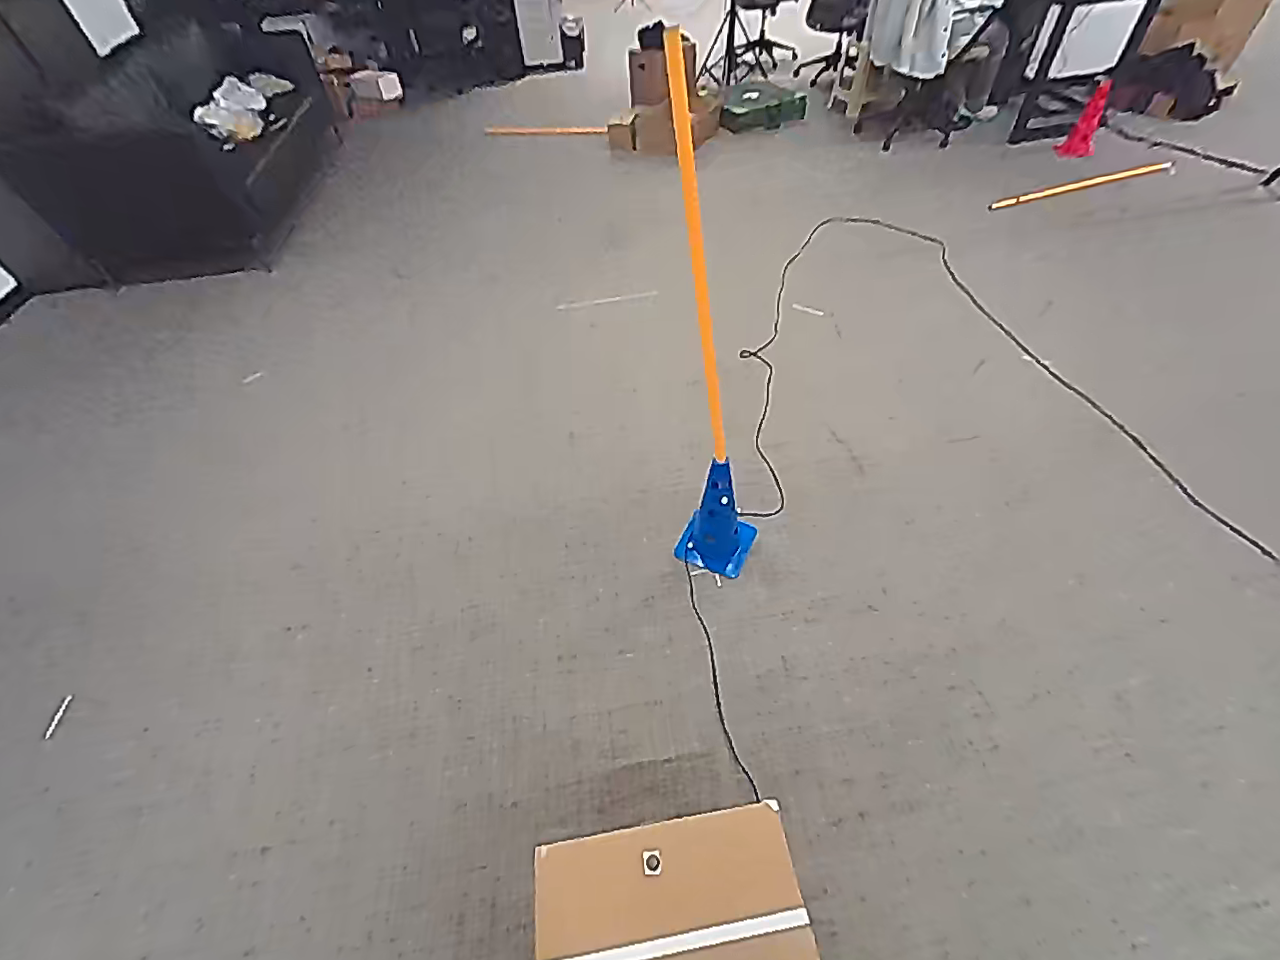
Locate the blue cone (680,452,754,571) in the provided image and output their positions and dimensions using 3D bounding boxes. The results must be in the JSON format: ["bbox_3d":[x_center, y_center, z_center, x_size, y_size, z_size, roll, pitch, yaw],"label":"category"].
[{"bbox_3d":[0.216,0.067,1.463,0.192,0.380,0.193,16,53,19],"label":"blue cone"}]
